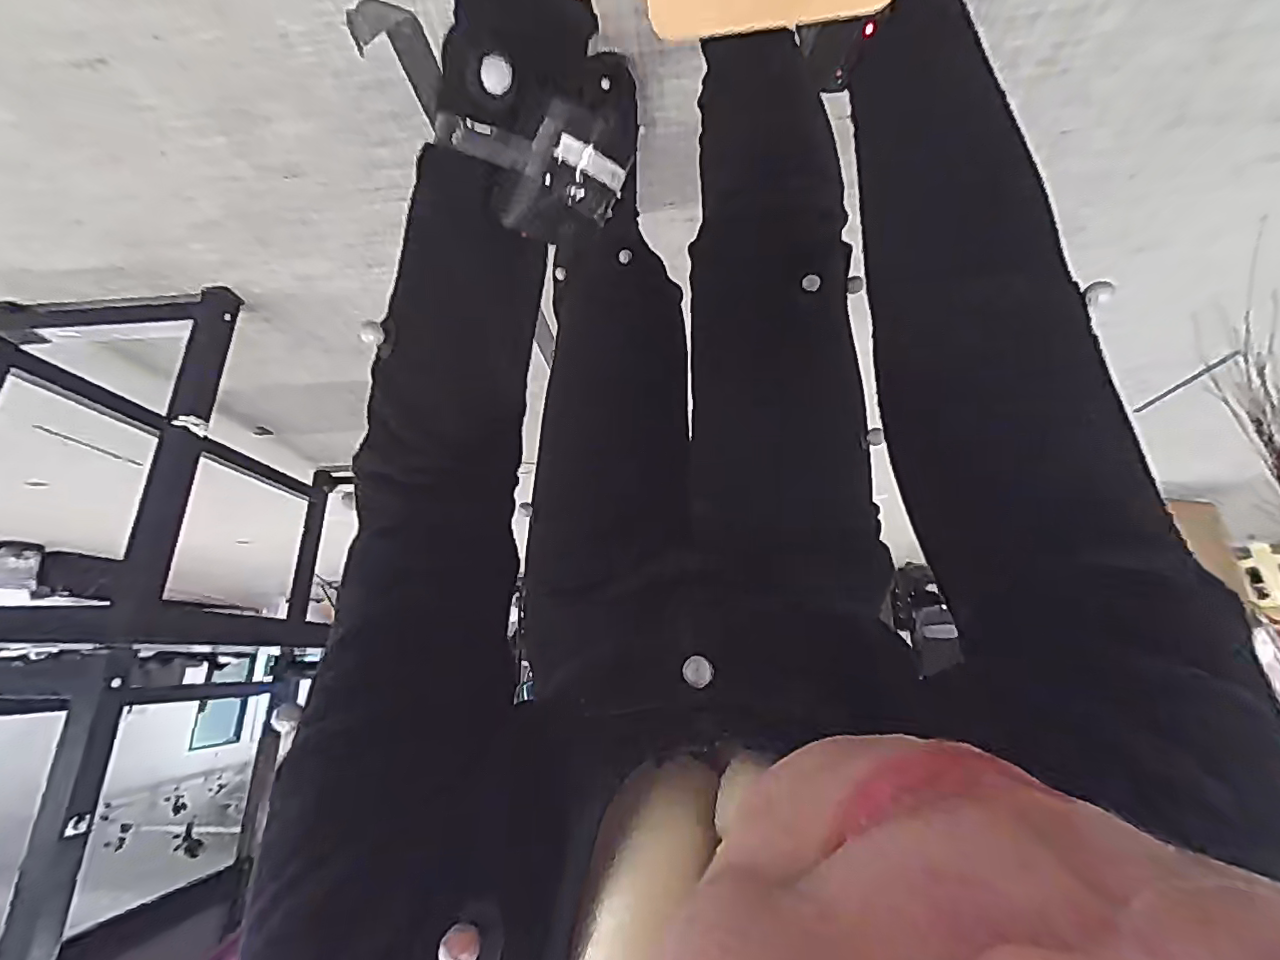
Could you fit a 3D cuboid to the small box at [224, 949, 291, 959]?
[{"bbox_3d":[-0.957,1.253,1.275,0.179,0.176,0.168,-6,161,14],"label":"small box"}]
